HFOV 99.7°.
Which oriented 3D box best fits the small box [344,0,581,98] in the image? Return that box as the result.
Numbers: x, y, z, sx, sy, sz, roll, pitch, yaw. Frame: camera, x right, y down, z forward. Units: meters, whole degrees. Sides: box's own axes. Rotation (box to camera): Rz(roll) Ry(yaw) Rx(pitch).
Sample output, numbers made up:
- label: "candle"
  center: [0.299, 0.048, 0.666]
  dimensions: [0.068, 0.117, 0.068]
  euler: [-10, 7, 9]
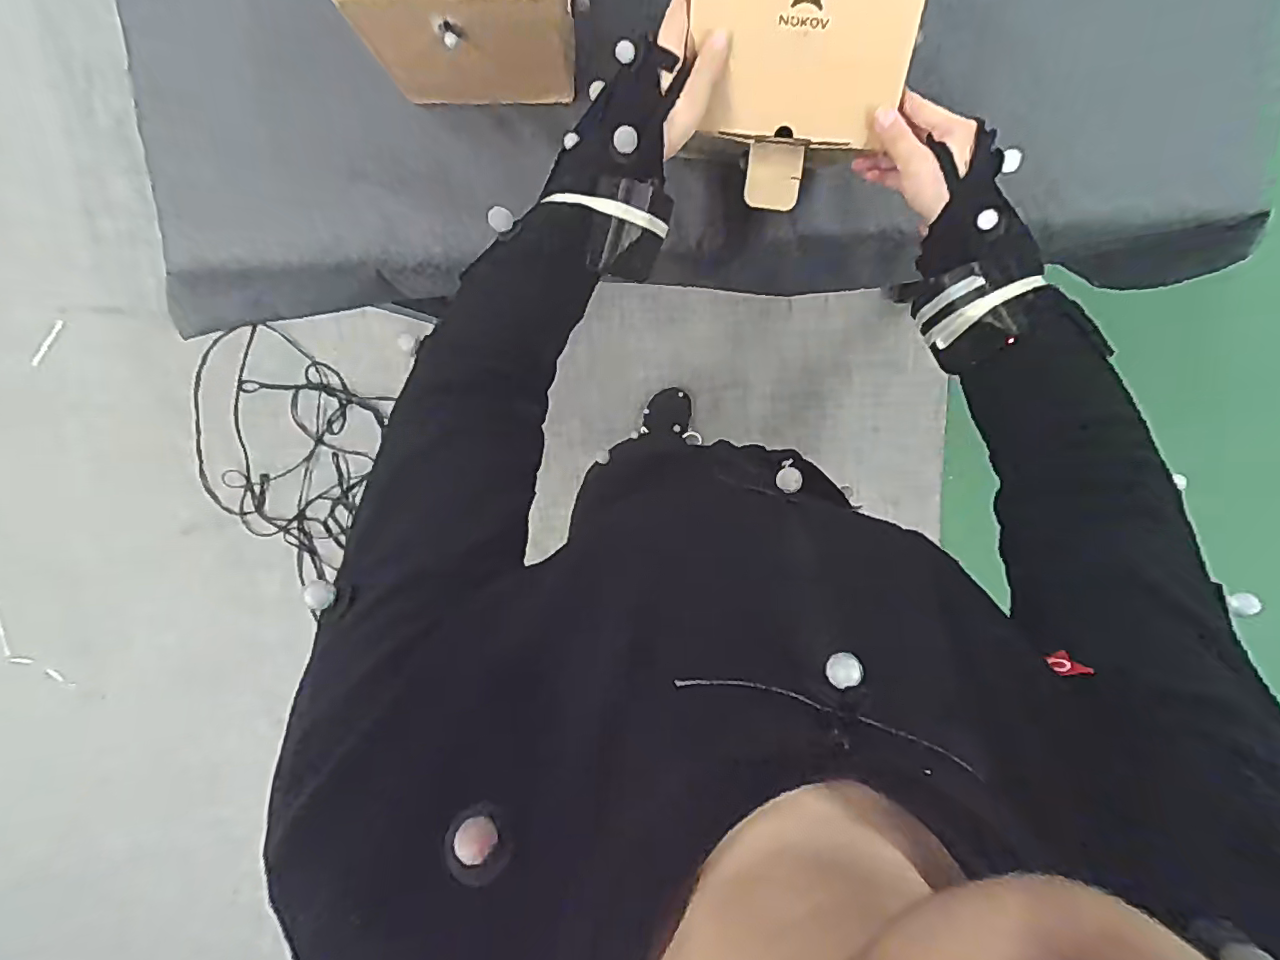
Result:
- label: "small box"
  center: [-0.151, -0.465, 0.475]
  dimensions: [0.179, 0.176, 0.168]
  euler: [-1, 101, 1]
